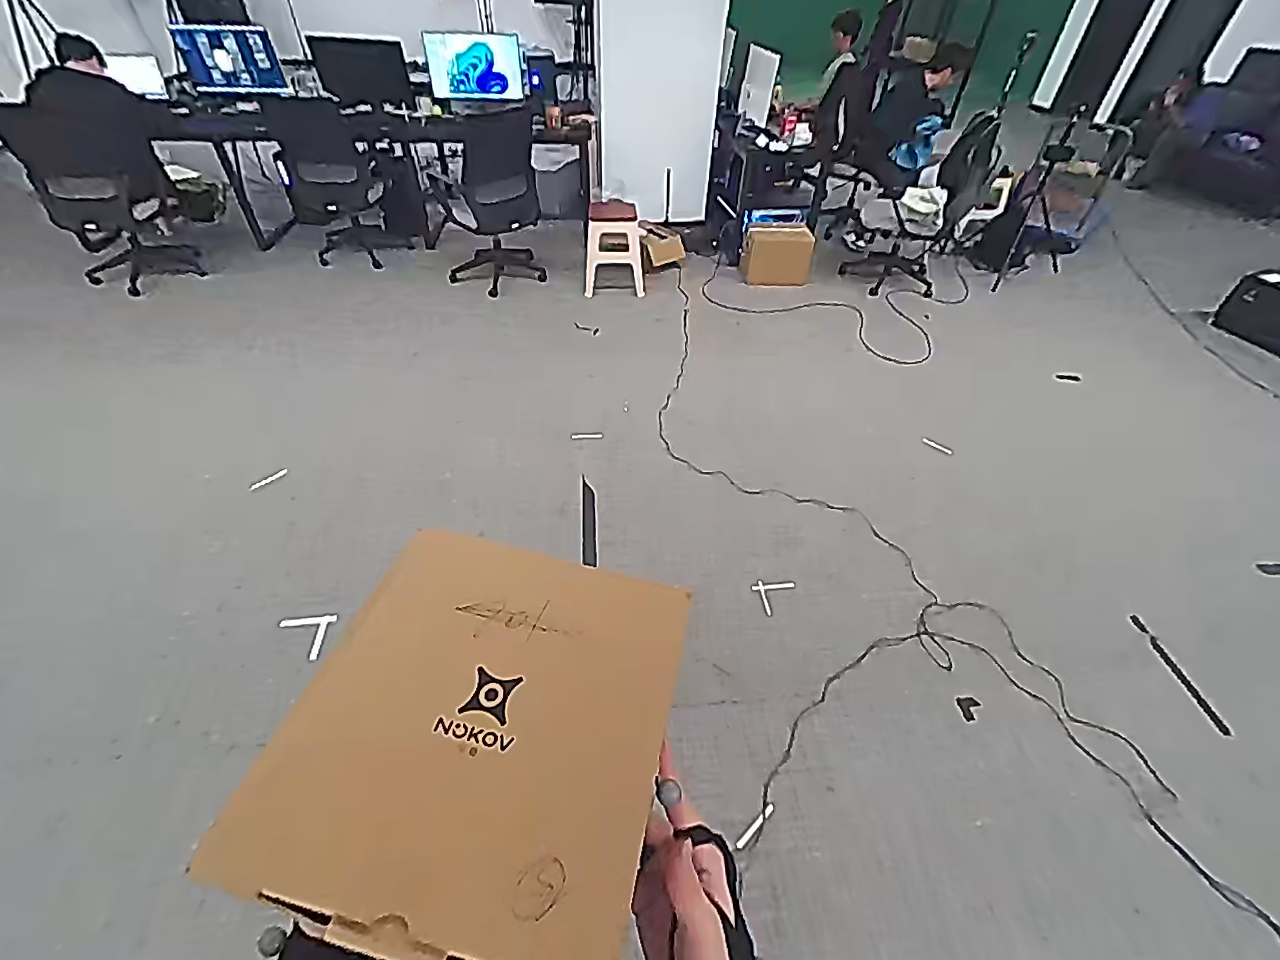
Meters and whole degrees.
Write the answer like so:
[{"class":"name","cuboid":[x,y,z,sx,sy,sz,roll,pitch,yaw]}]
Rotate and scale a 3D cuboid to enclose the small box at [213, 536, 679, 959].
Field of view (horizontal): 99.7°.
[{"class":"small box","cuboid":[-0.080,0.166,0.321,0.168,0.176,0.179,13,45,5]}]
